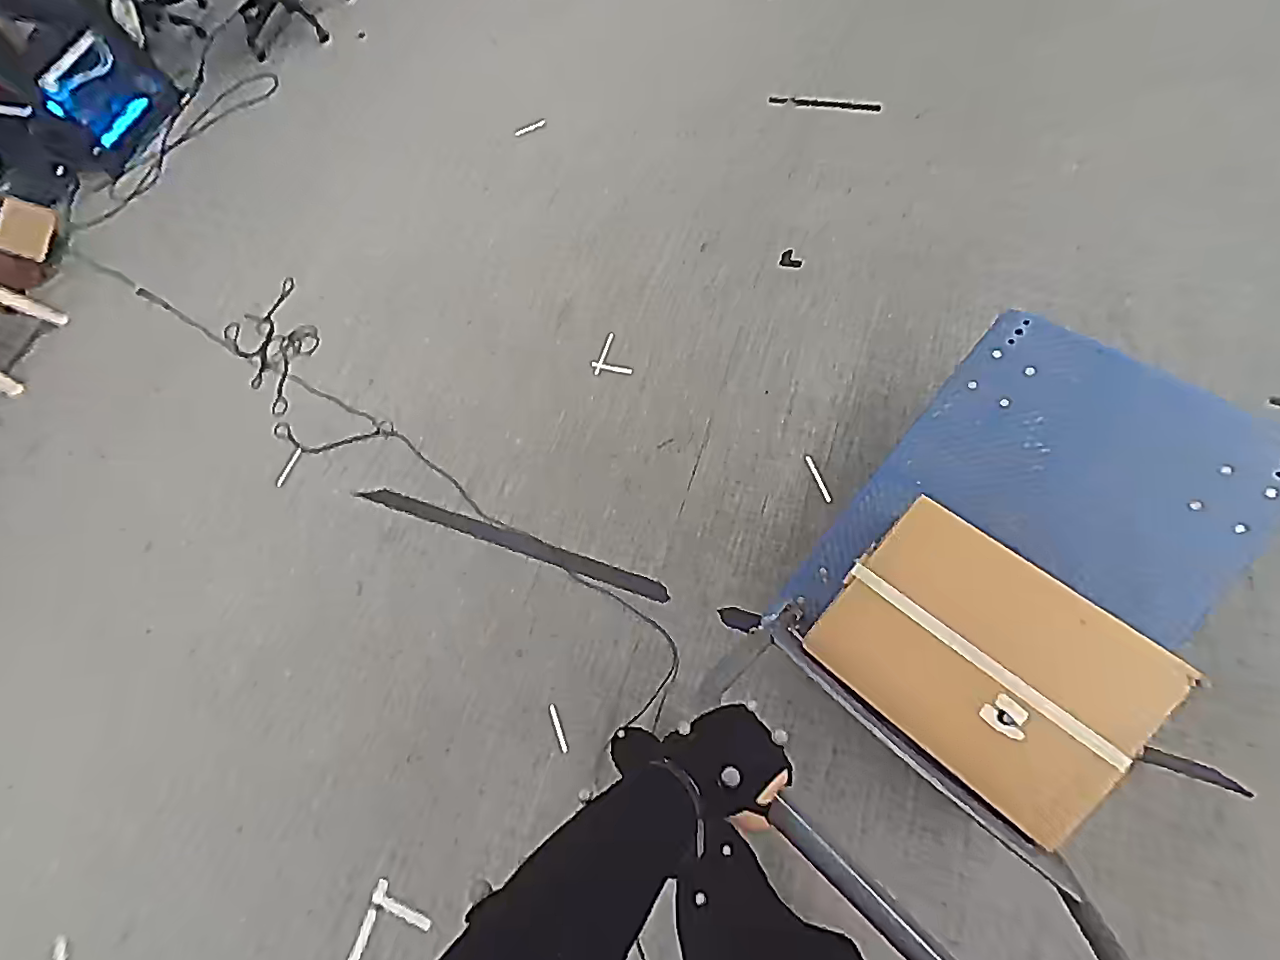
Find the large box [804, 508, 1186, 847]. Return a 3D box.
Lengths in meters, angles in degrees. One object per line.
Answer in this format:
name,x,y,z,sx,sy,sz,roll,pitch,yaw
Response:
large box,0.546,0.300,0.942,0.408,0.320,0.320,38,94,22
